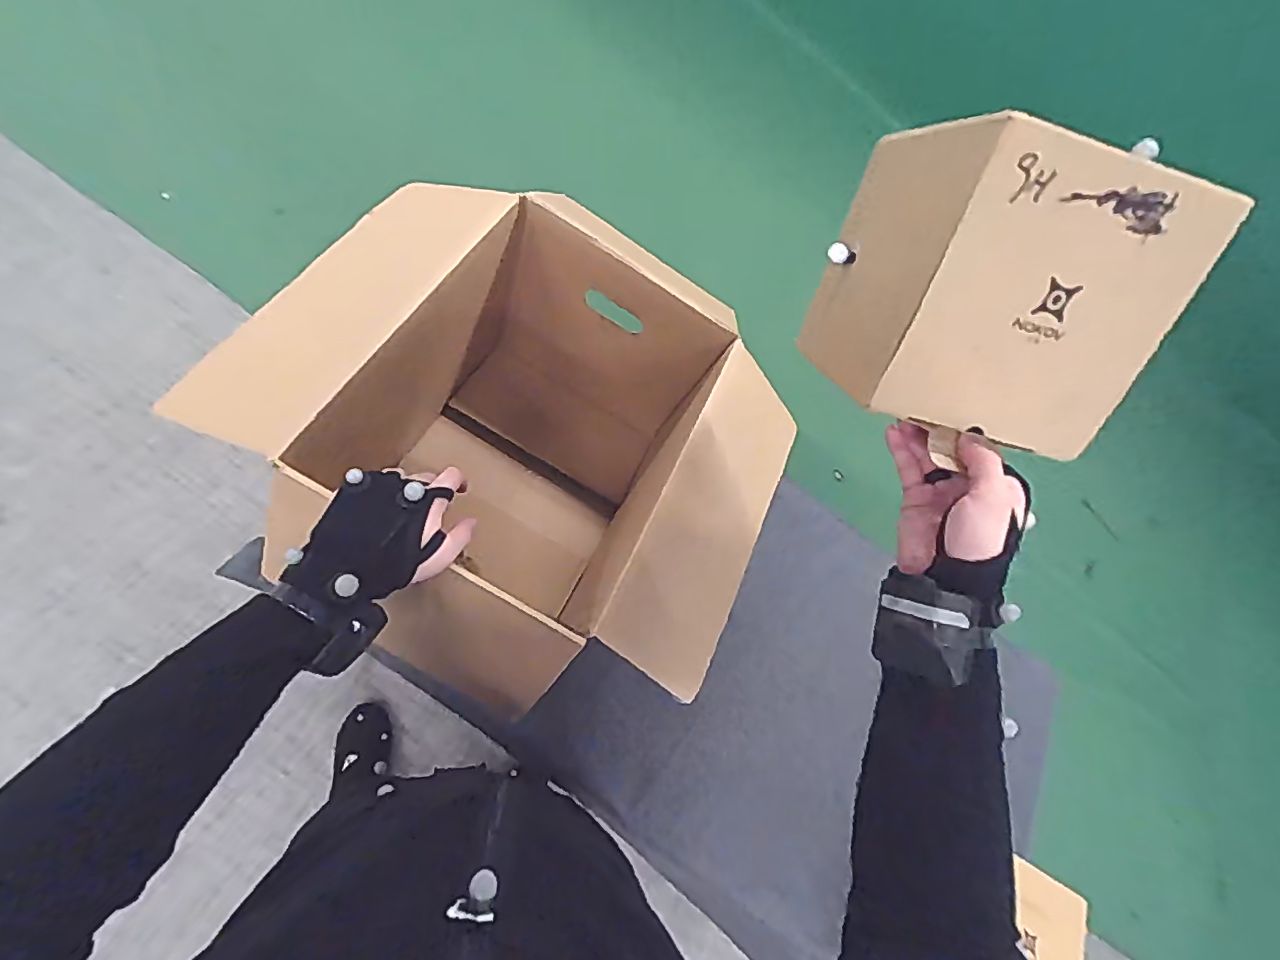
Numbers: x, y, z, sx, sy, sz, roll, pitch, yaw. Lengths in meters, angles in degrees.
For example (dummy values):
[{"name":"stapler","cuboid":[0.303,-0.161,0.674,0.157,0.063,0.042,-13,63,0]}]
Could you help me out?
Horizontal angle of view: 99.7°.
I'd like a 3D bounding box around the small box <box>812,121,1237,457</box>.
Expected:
[{"name":"small box","cuboid":[0.253,-0.145,0.417,0.168,0.179,0.176,12,28,-8]}]
